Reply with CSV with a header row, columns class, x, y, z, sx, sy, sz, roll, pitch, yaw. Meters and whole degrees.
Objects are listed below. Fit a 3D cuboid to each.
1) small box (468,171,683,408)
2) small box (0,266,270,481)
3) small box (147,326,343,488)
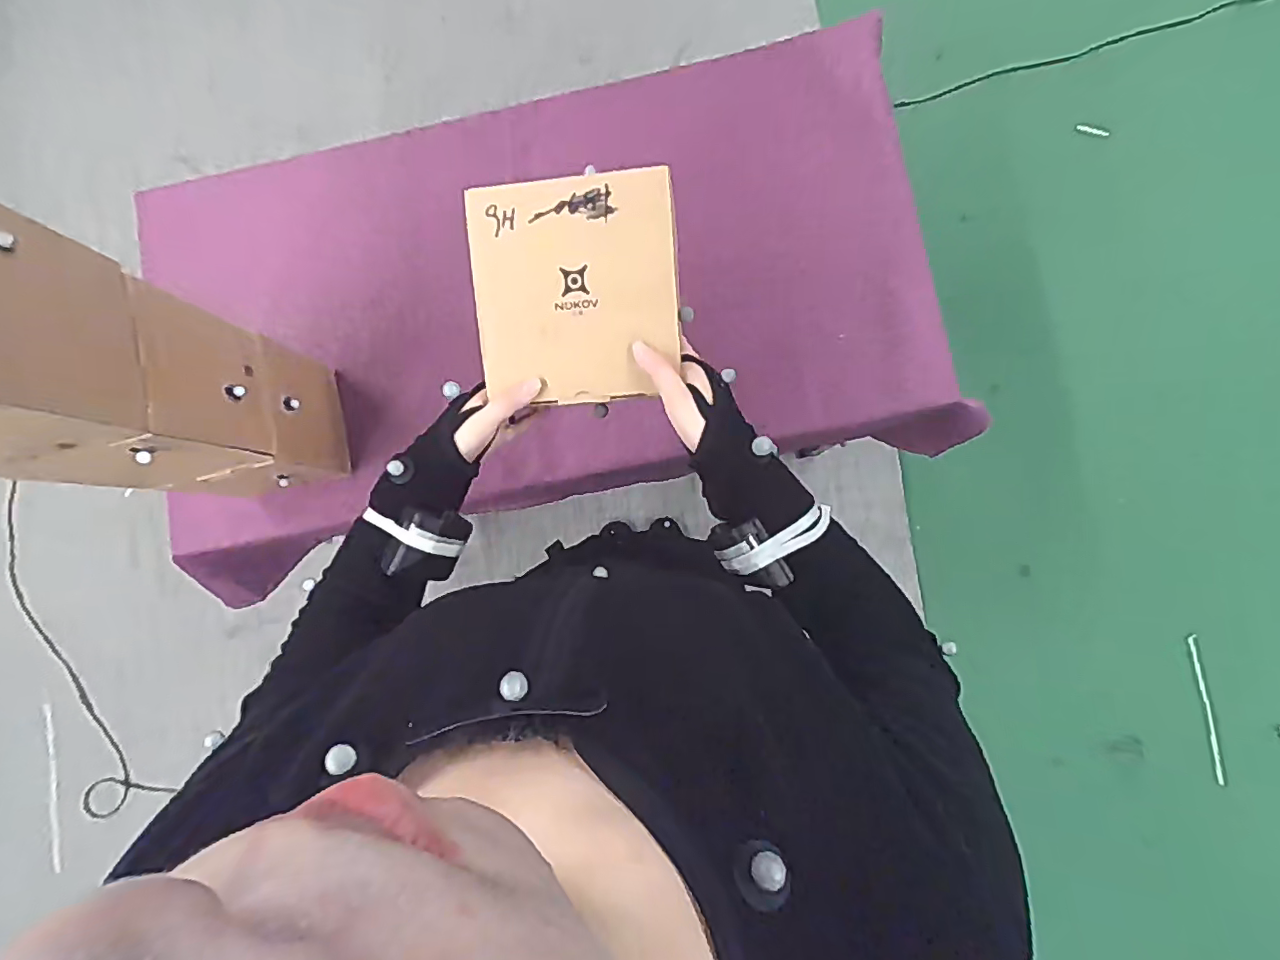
class,x,y,z,sx,sy,sz,roll,pitch,yaw
small box,-0.045,-0.165,0.516,0.168,0.176,0.179,-3,99,5
small box,-0.557,-0.100,0.592,0.179,0.176,0.168,-14,85,0
small box,-0.545,-0.088,0.754,0.168,0.176,0.179,-12,84,1
